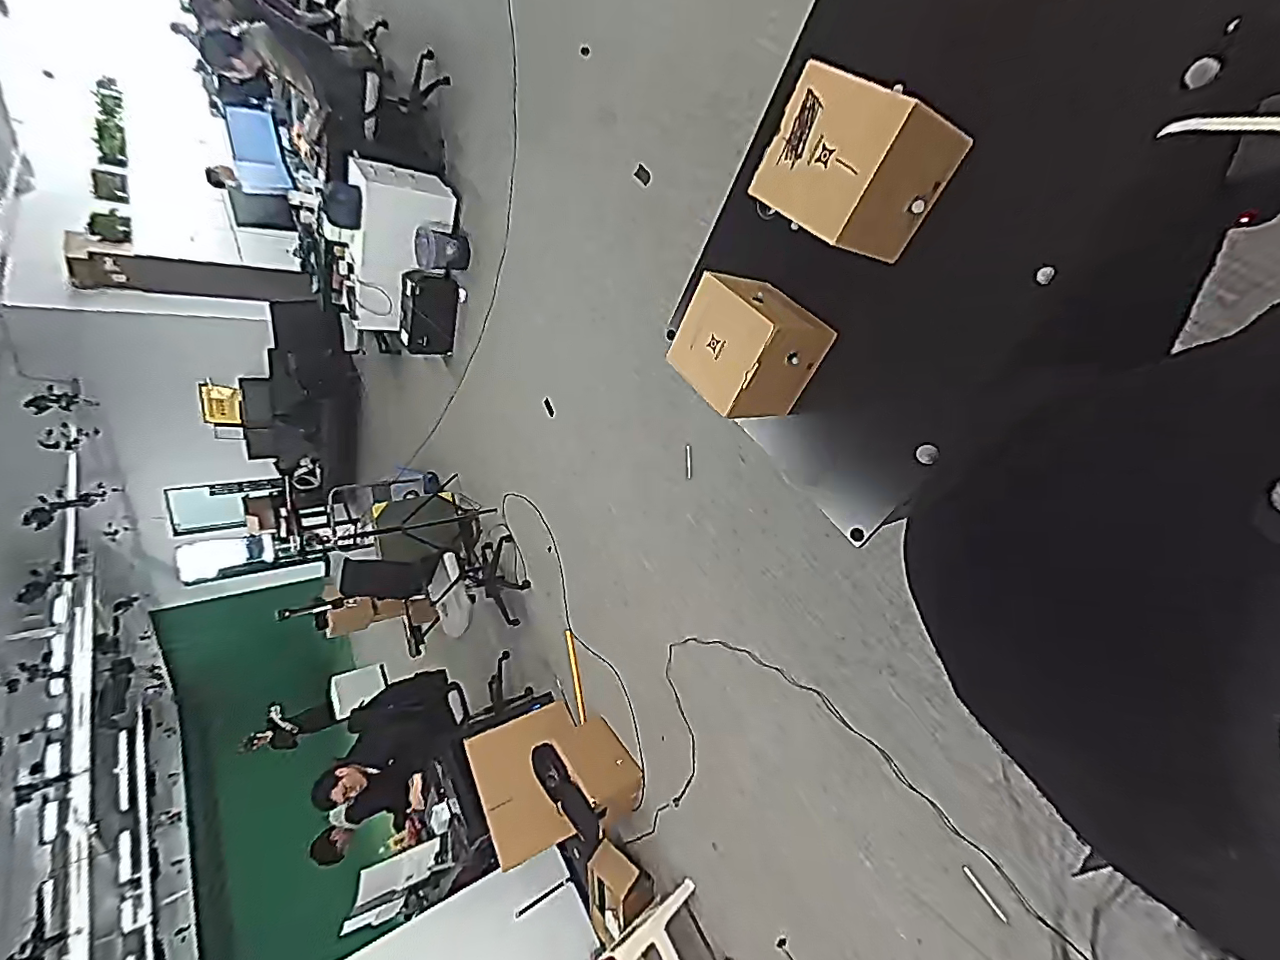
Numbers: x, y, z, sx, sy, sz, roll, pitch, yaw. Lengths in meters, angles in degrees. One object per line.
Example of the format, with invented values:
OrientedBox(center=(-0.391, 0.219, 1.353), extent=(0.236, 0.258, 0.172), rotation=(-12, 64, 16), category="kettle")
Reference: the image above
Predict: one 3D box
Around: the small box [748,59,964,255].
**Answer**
OrientedBox(center=(0.289, -0.427, 0.736), extent=(0.179, 0.176, 0.168), rotation=(52, 133, 31), category="small box")

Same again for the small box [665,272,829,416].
OrientedBox(center=(0.180, -0.227, 0.910), extent=(0.179, 0.176, 0.168), rotation=(52, 132, 33), category="small box")
